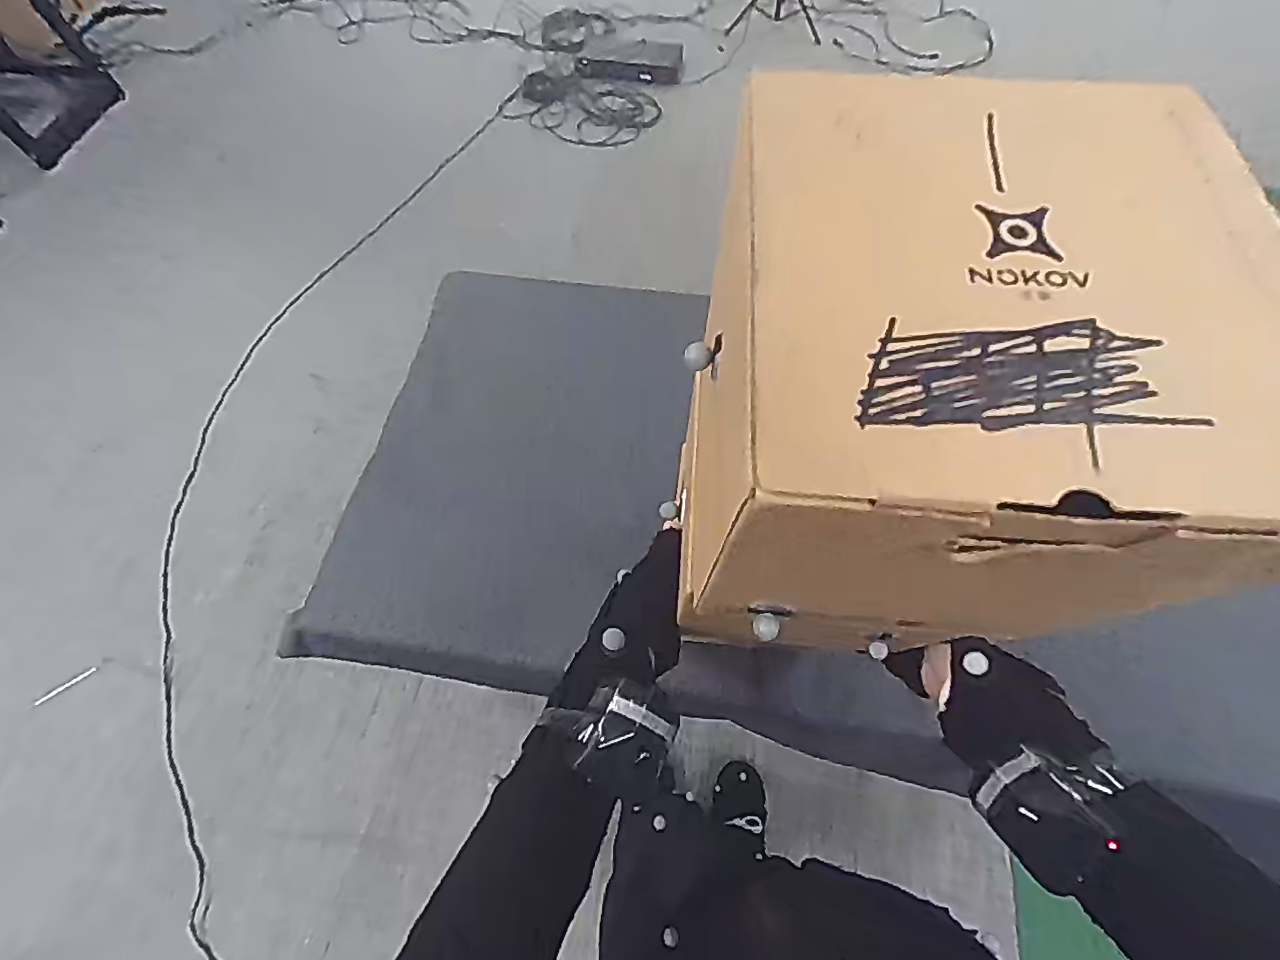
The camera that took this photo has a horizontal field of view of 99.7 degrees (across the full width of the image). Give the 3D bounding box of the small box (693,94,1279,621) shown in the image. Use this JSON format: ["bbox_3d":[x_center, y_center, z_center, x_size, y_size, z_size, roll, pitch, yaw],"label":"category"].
[{"bbox_3d":[0.116,-0.037,0.252,0.168,0.176,0.179,4,66,2],"label":"small box"}]

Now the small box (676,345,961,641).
[{"bbox_3d":[0.120,0.021,0.389,0.179,0.176,0.168,1,67,0],"label":"small box"}]
